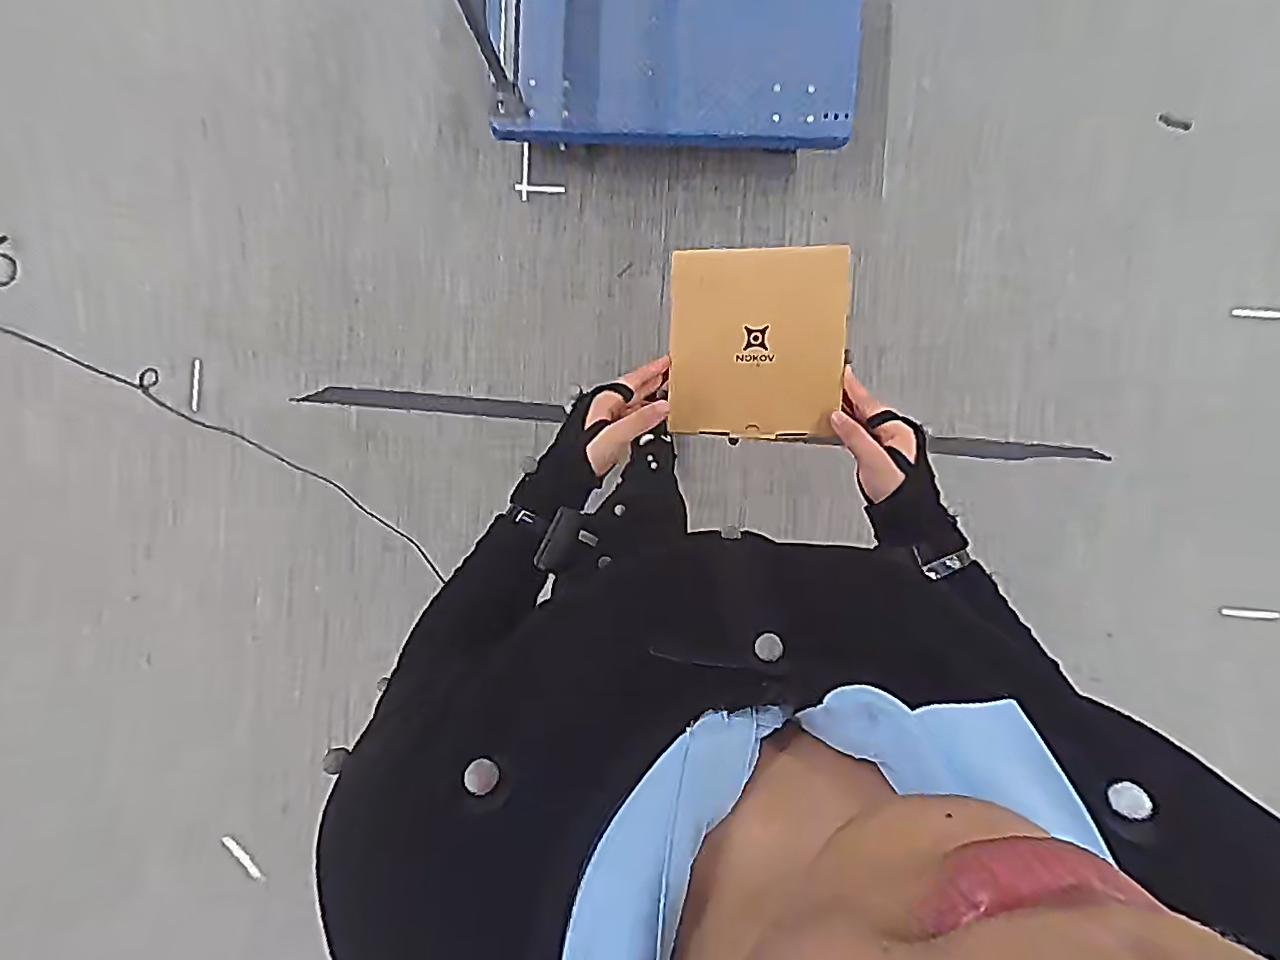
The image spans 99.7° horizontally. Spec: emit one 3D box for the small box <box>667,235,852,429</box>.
[{"bbox_3d":[0.119,-0.146,0.585,0.168,0.176,0.179,2,97,8],"label":"small box"}]
